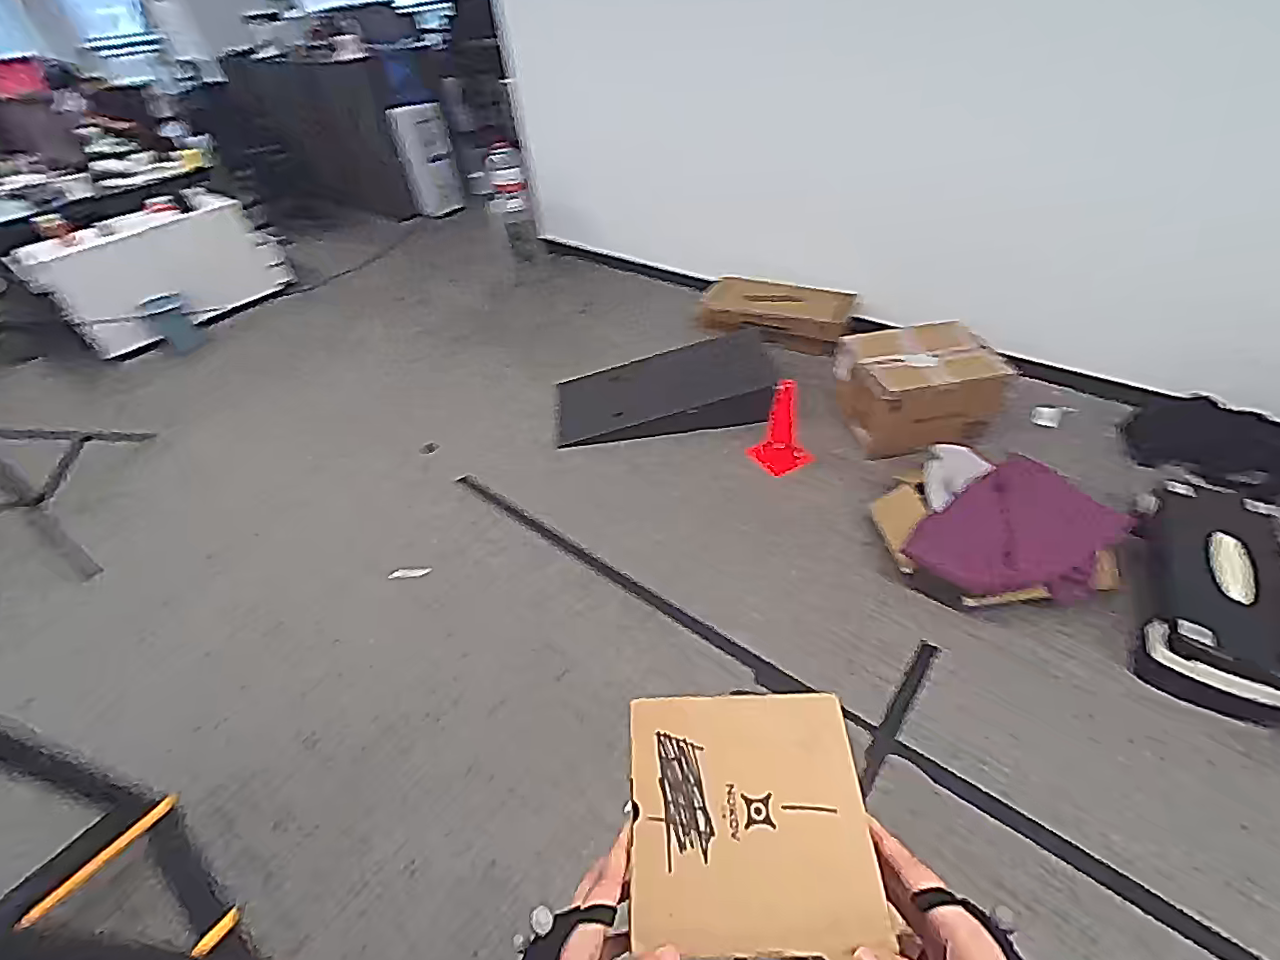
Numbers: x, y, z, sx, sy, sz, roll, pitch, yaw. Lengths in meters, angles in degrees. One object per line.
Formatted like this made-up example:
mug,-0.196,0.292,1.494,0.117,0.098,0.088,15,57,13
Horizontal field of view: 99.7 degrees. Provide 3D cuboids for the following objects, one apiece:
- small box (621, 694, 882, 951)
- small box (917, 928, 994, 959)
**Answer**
small box,0.079,0.299,0.469,0.179,0.176,0.168,-4,51,2
small box,0.528,0.875,0.862,0.168,0.176,0.179,28,54,30
